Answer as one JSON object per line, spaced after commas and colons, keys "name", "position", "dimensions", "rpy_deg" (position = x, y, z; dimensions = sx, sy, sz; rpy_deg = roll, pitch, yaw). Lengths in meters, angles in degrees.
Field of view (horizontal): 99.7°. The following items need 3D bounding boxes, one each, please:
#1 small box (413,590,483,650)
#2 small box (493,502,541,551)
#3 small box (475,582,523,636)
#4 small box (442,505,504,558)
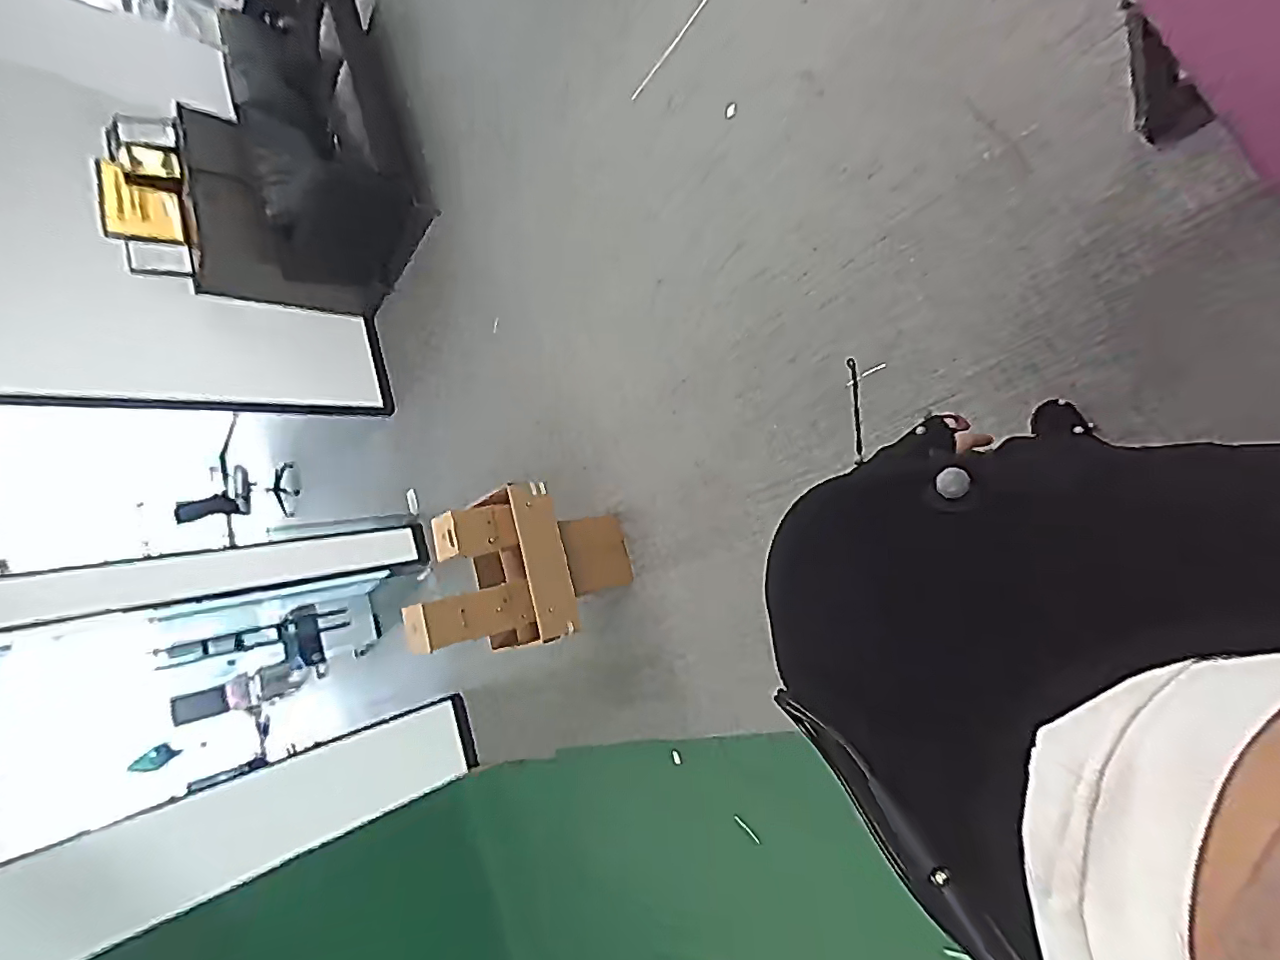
{"name": "small box", "position": [-0.681, 0.497, 1.922], "dimensions": [0.179, 0.176, 0.168], "rpy_deg": [-22, 78, 44]}
{"name": "small box", "position": [-0.529, 0.191, 2.213], "dimensions": [0.179, 0.176, 0.168], "rpy_deg": [-23, 76, 42]}
{"name": "small box", "position": [-0.566, 0.489, 2.037], "dimensions": [0.179, 0.176, 0.168], "rpy_deg": [-21, 79, 44]}
{"name": "small box", "position": [-0.640, 0.198, 2.091], "dimensions": [0.179, 0.176, 0.168], "rpy_deg": [-22, 77, 43]}
